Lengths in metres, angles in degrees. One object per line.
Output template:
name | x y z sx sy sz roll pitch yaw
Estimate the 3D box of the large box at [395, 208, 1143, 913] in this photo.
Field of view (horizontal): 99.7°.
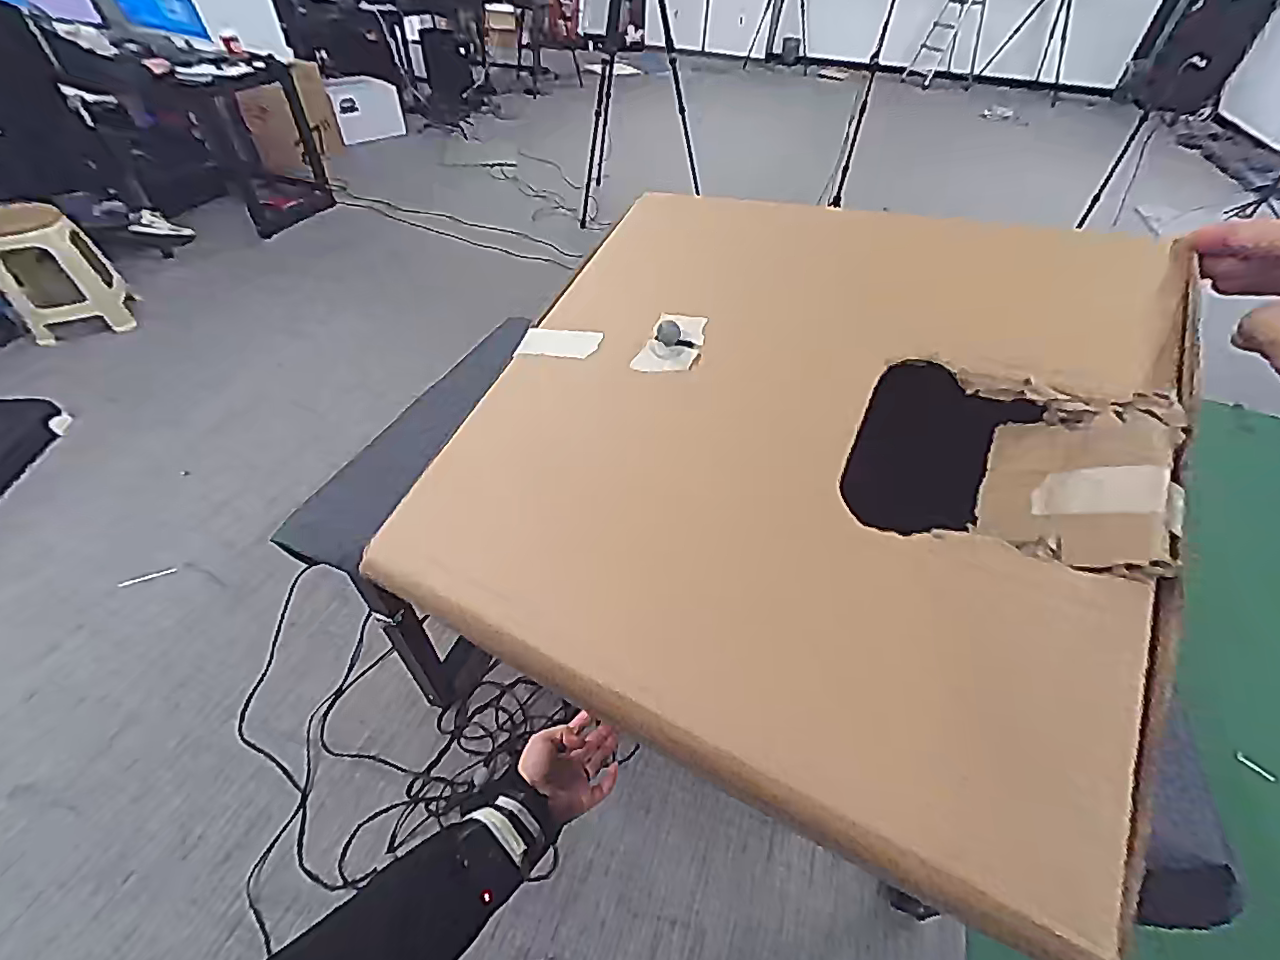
large box | 0.102 0.062 0.441 0.320 0.408 0.320 19 65 23
